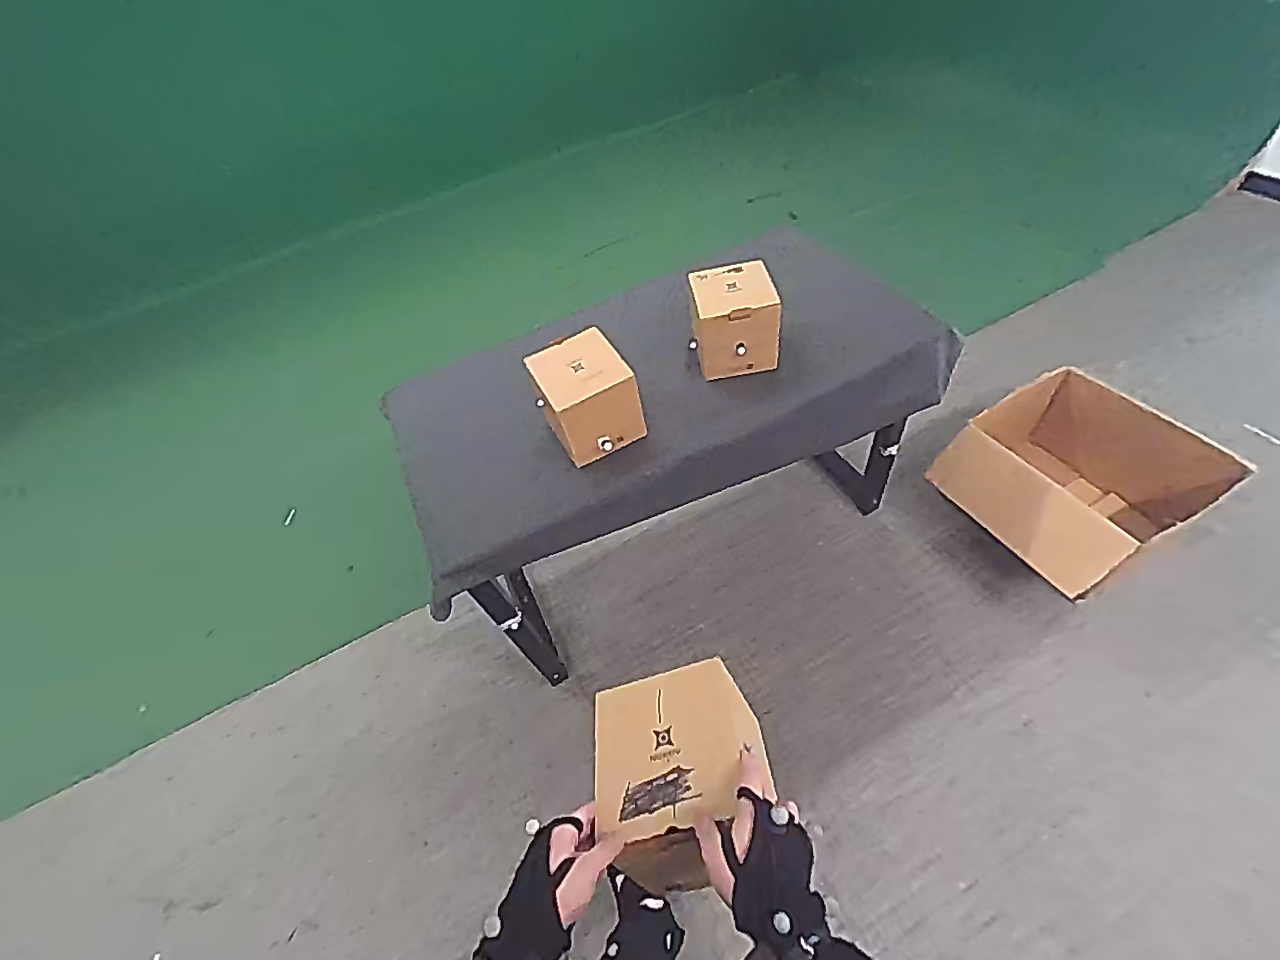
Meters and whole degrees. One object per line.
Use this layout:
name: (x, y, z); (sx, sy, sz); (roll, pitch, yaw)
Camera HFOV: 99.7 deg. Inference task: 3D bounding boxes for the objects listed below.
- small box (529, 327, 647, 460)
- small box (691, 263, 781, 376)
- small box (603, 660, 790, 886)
small box: (-0.102, -0.174, 1.100); (0.168, 0.176, 0.179); (-28, 53, -12)
small box: (0.211, -0.348, 1.201); (0.168, 0.176, 0.179); (-9, 51, 3)
small box: (0.065, 0.353, 0.644); (0.168, 0.176, 0.179); (-20, 35, 10)
